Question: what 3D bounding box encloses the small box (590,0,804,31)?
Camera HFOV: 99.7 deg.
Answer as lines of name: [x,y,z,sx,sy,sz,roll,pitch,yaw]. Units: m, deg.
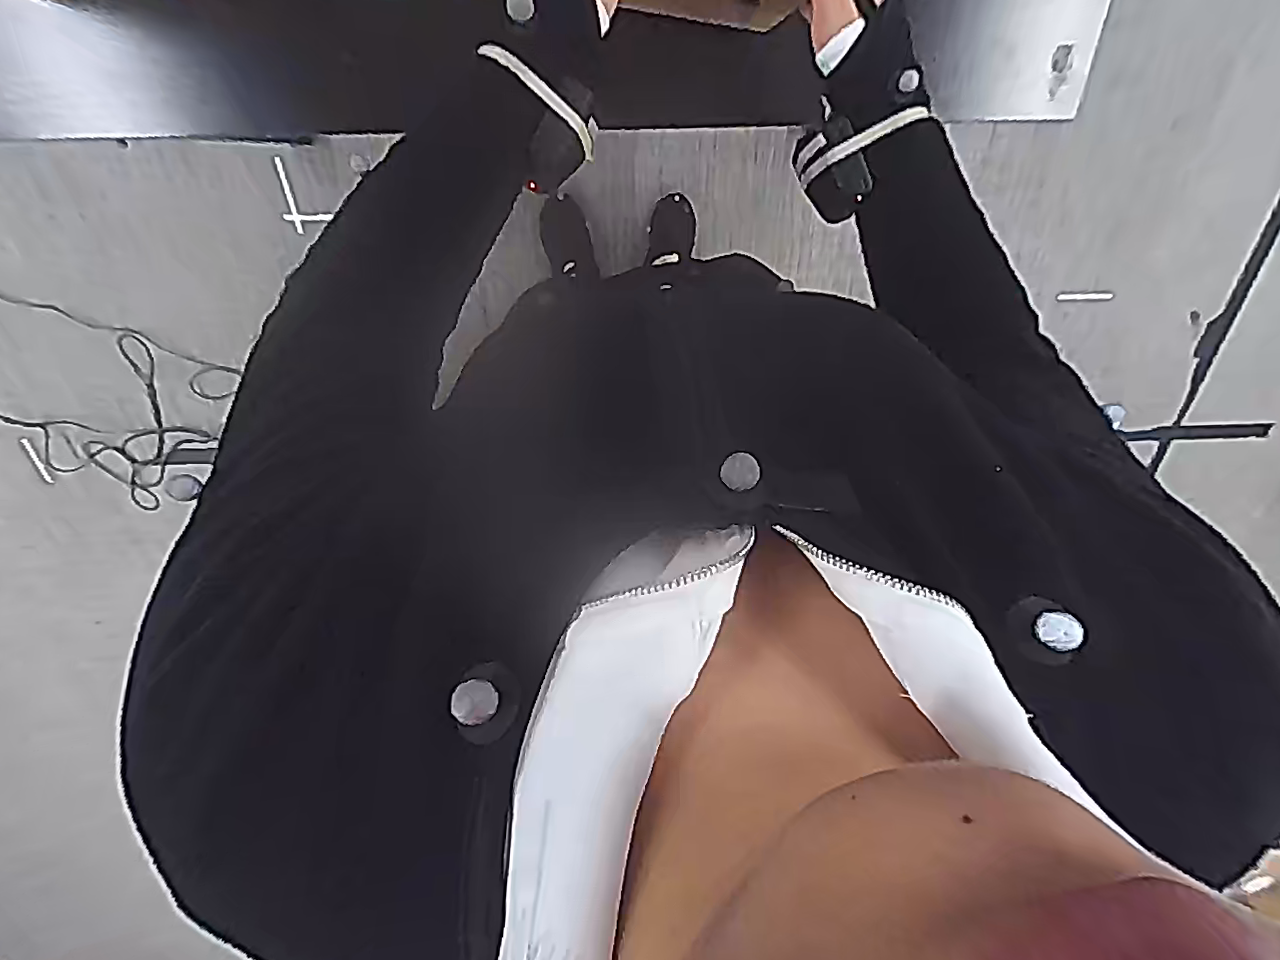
small box: [0.051,-0.469,0.407,0.179,0.176,0.168,3,118,-8]
